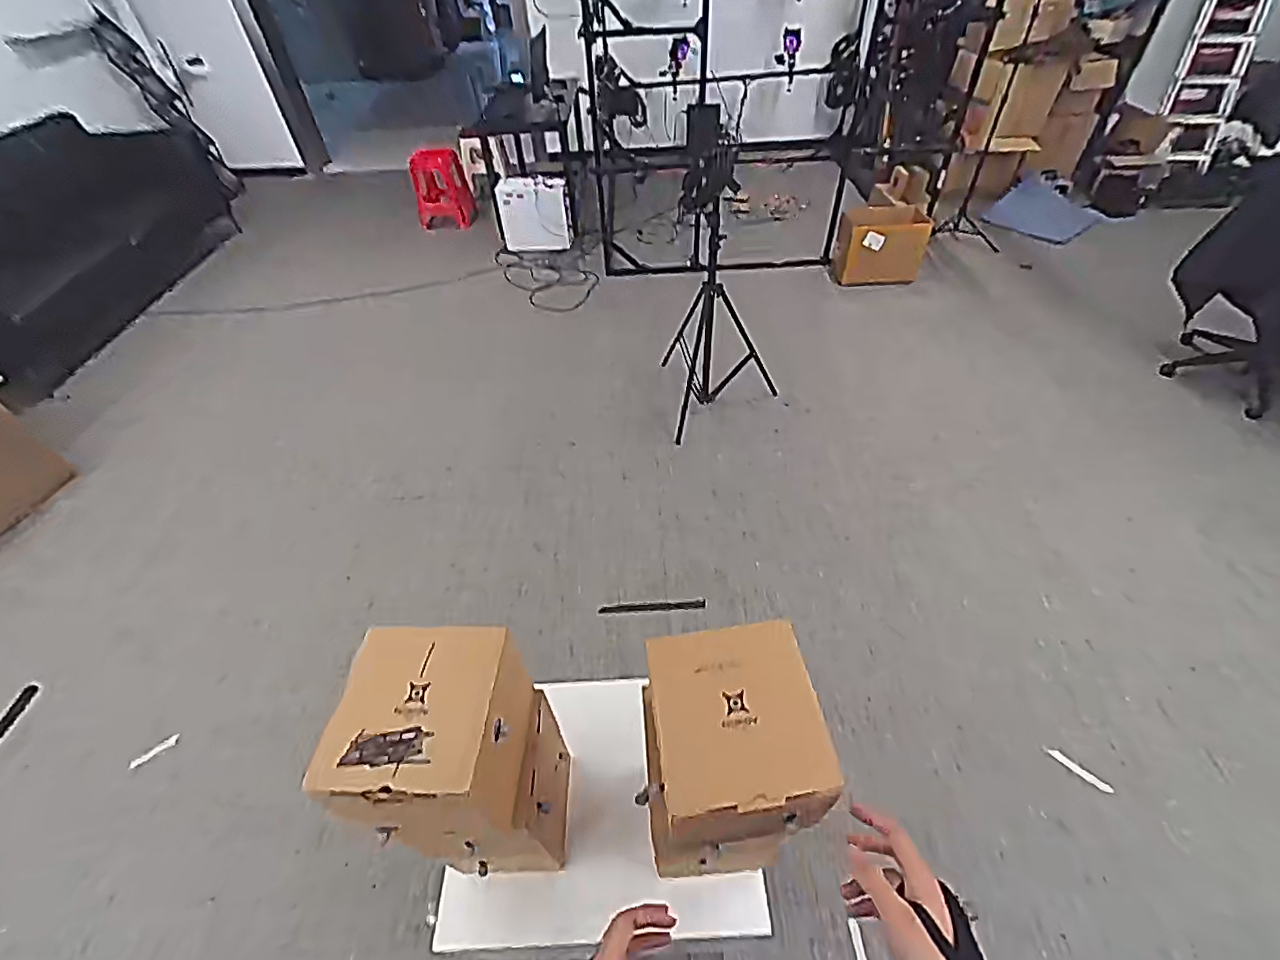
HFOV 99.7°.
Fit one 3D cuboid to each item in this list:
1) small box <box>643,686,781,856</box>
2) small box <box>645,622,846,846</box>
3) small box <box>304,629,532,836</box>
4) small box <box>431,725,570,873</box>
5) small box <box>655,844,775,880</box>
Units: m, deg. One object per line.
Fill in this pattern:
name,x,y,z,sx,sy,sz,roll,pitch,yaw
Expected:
small box,0.094,0.389,0.726,0.168,0.176,0.179,-5,47,0
small box,0.102,0.285,0.598,0.168,0.176,0.179,-8,47,-4
small box,-0.228,0.289,0.616,0.168,0.176,0.179,0,46,3
small box,-0.207,0.510,0.859,0.168,0.176,0.179,-2,46,0
small box,0.102,0.501,0.846,0.168,0.176,0.179,-6,46,0
